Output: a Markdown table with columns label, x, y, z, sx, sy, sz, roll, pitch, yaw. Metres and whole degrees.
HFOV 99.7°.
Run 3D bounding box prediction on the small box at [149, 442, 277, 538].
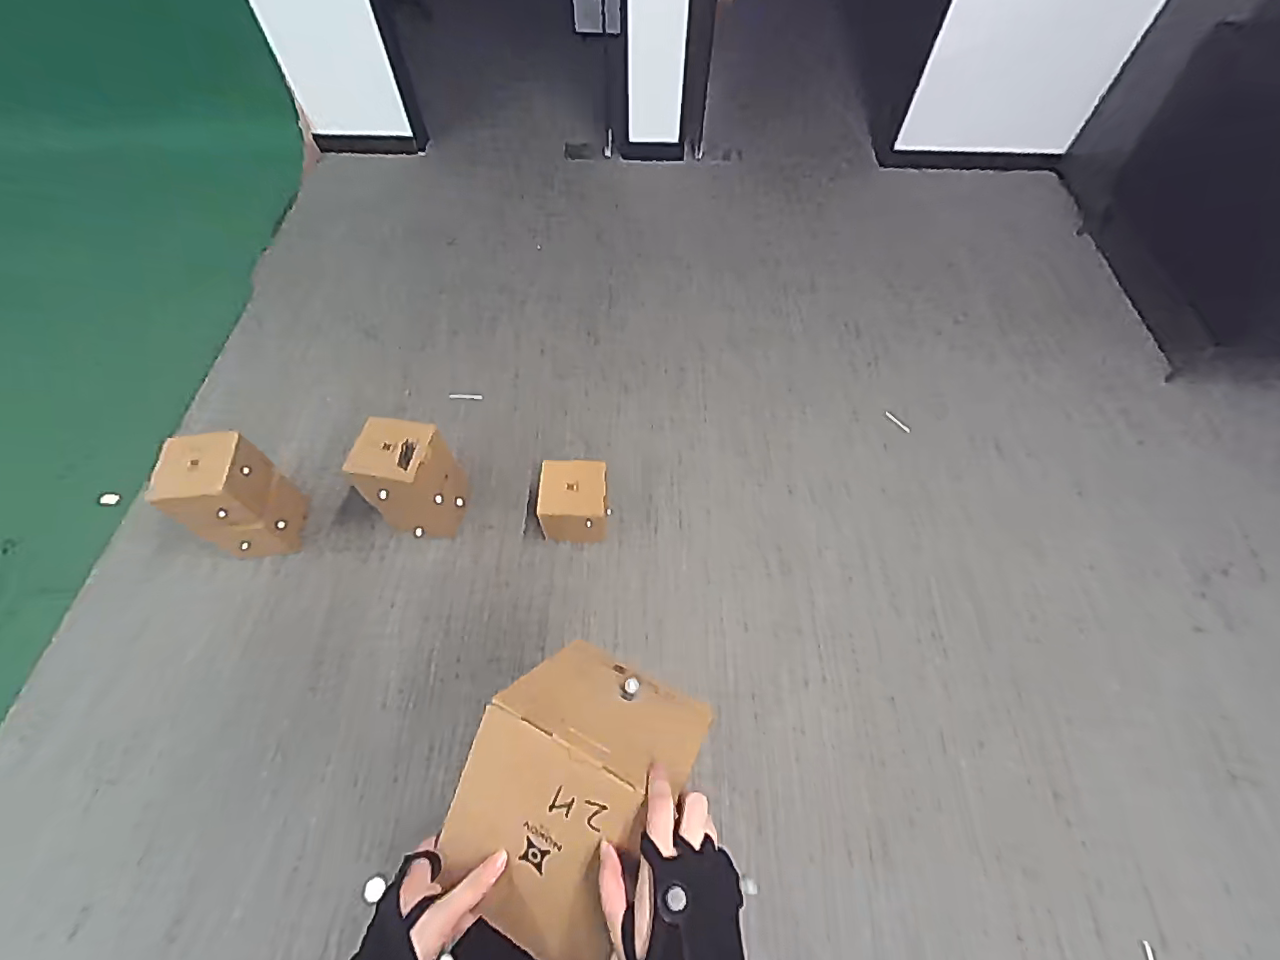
| label | x | y | z | sx | sy | sz | roll | pitch | yaw |
| --- | --- | --- | --- | --- | --- | --- | --- | --- | --- |
| small box | -1.030 | 0.031 | 1.324 | 0.168 | 0.176 | 0.179 | -6 | 58 | -6 |

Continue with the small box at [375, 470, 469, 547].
| label | x | y | z | sx | sy | sz | roll | pitch | yaw |
| --- | --- | --- | --- | --- | --- | --- | --- | --- | --- |
| small box | -0.596 | 0.071 | 1.500 | 0.179 | 0.176 | 0.168 | 8 | 58 | 3 |

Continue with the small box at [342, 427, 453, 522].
| label | x | y | z | sx | sy | sz | roll | pitch | yaw |
| --- | --- | --- | --- | --- | --- | --- | --- | --- | --- |
| small box | -0.595 | -0.009 | 1.356 | 0.179 | 0.176 | 0.168 | 8 | 58 | 5 |

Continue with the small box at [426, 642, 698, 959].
| label | x | y | z | sx | sy | sz | roll | pitch | yaw |
| --- | --- | --- | --- | --- | --- | --- | --- | --- | --- |
| small box | -0.059 | 0.284 | 0.508 | 0.168 | 0.176 | 0.179 | 24 | 97 | 16 |

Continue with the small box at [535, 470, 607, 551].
| label | x | y | z | sx | sy | sz | roll | pitch | yaw |
| --- | --- | --- | --- | --- | --- | --- | --- | --- | --- |
| small box | -0.184 | 0.088 | 1.499 | 0.179 | 0.176 | 0.168 | 2 | 58 | -1 |
